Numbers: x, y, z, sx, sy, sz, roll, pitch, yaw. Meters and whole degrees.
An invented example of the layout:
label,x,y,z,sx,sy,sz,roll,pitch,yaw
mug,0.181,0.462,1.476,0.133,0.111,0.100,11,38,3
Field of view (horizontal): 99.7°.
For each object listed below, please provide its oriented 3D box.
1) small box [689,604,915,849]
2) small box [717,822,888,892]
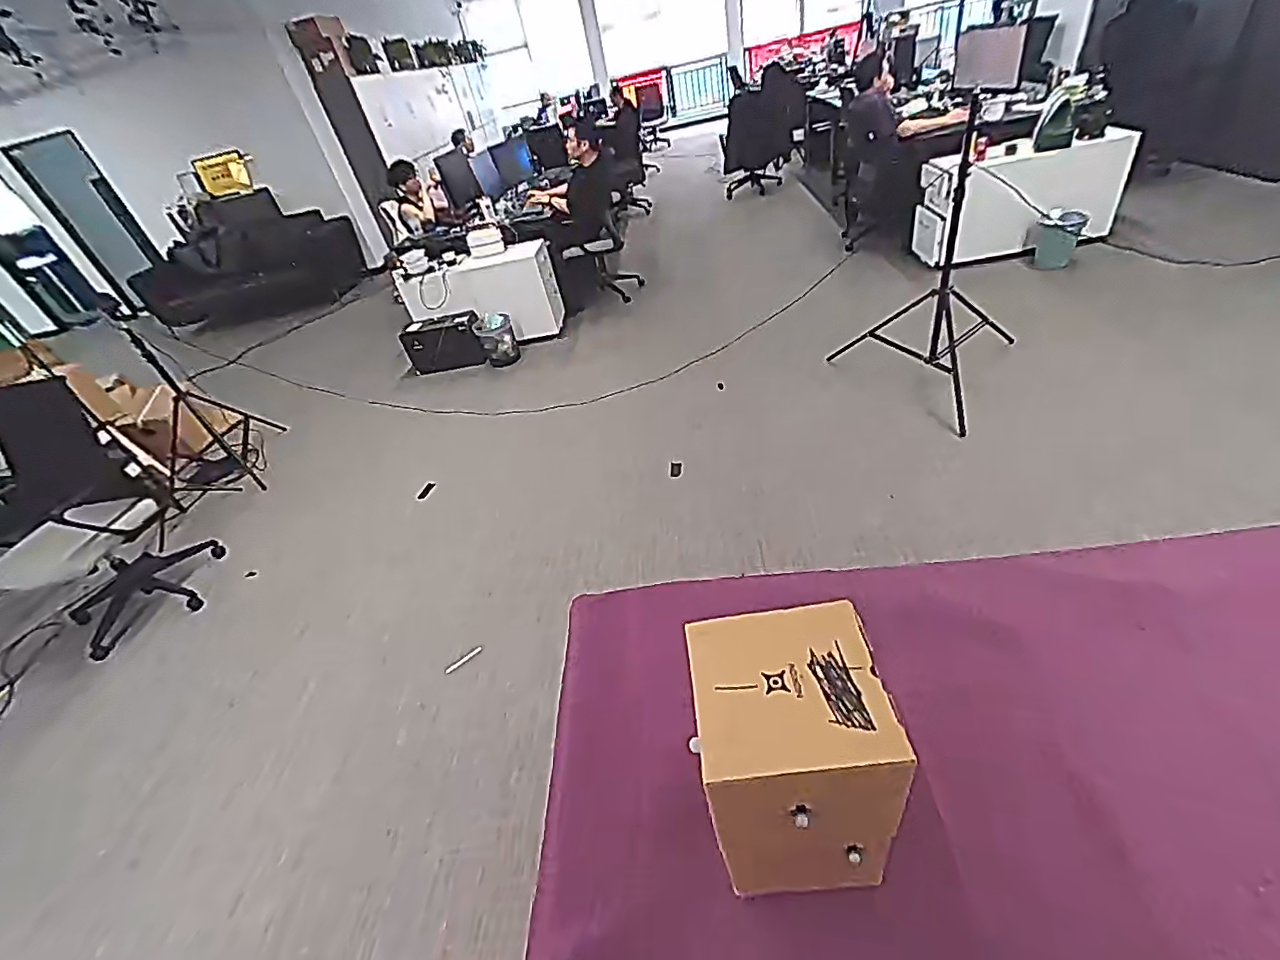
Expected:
label,x,y,z,sx,sy,sz,roll,pitch,yaw
small box,0.152,0.254,0.557,0.179,0.176,0.168,-10,37,6
small box,0.181,0.378,0.661,0.179,0.176,0.168,-9,38,5
